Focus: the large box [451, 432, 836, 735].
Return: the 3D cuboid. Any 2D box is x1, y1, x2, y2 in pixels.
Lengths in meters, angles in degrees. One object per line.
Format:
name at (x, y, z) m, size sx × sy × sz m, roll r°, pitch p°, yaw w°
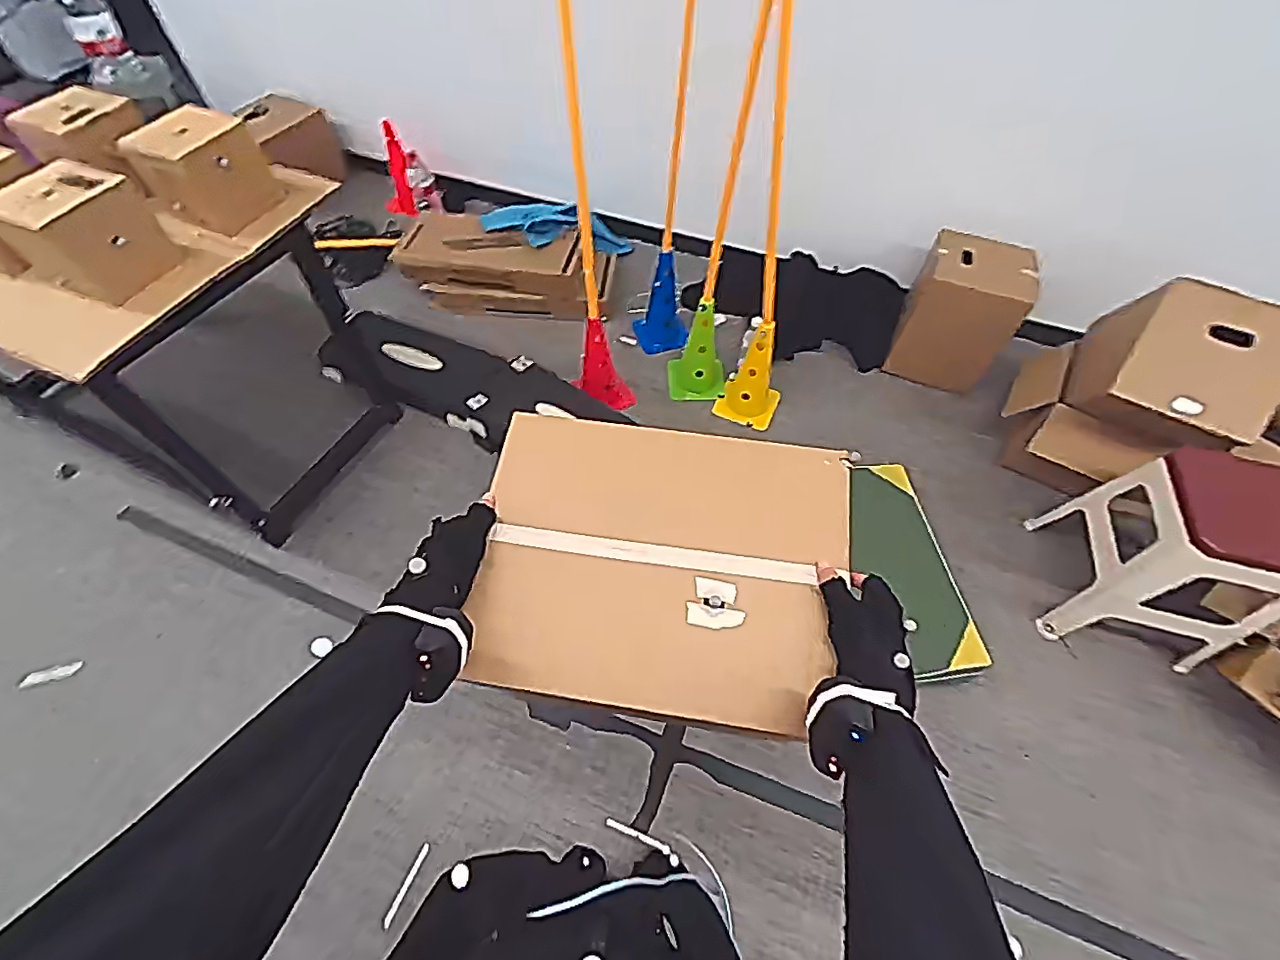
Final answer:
large box at (0.017, 0.157, 0.744) m, size 0.408 × 0.320 × 0.320 m, roll 7°, pitch 67°, yaw 4°
